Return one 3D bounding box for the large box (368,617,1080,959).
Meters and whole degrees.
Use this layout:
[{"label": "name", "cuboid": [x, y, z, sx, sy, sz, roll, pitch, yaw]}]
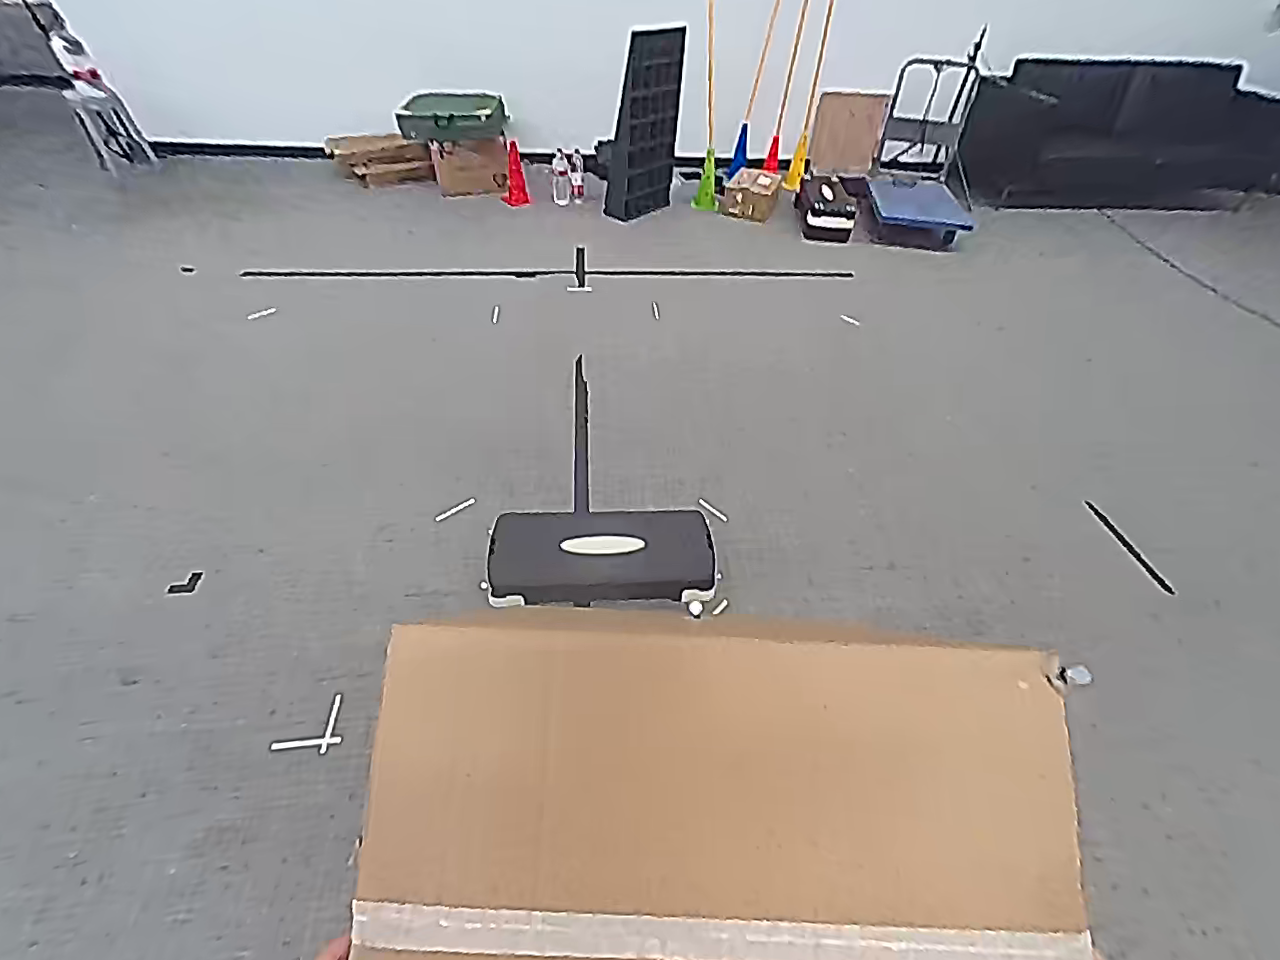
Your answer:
[{"label": "large box", "cuboid": [0.045, 0.279, 0.450, 0.408, 0.320, 0.320, 2, 80, 0]}]
